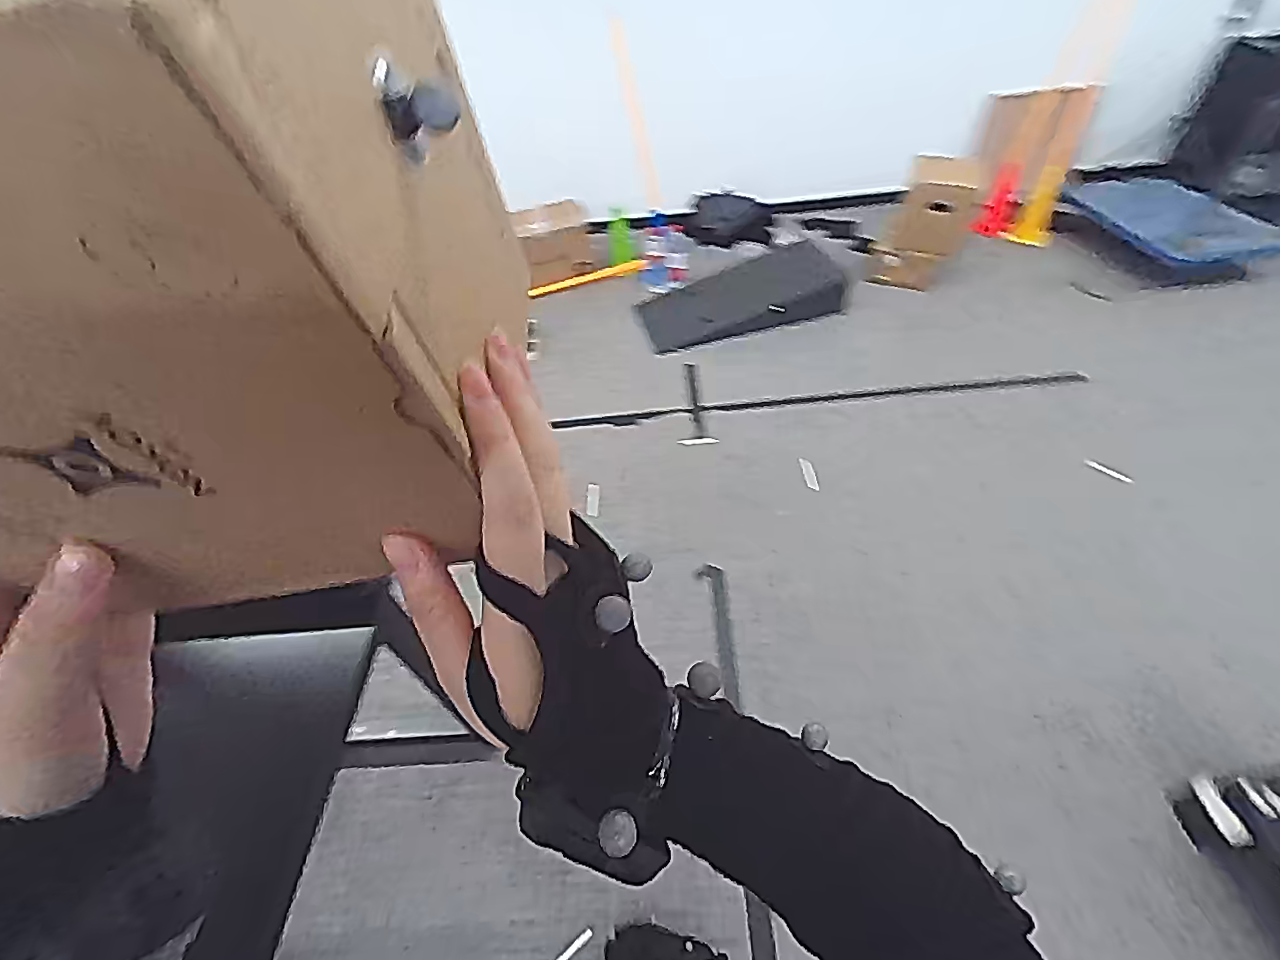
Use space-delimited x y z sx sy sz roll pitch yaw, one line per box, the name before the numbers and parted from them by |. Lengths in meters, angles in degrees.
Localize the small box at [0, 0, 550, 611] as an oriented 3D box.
small box | -0.136 -0.073 0.185 0.179 0.168 0.176 -8 55 3
